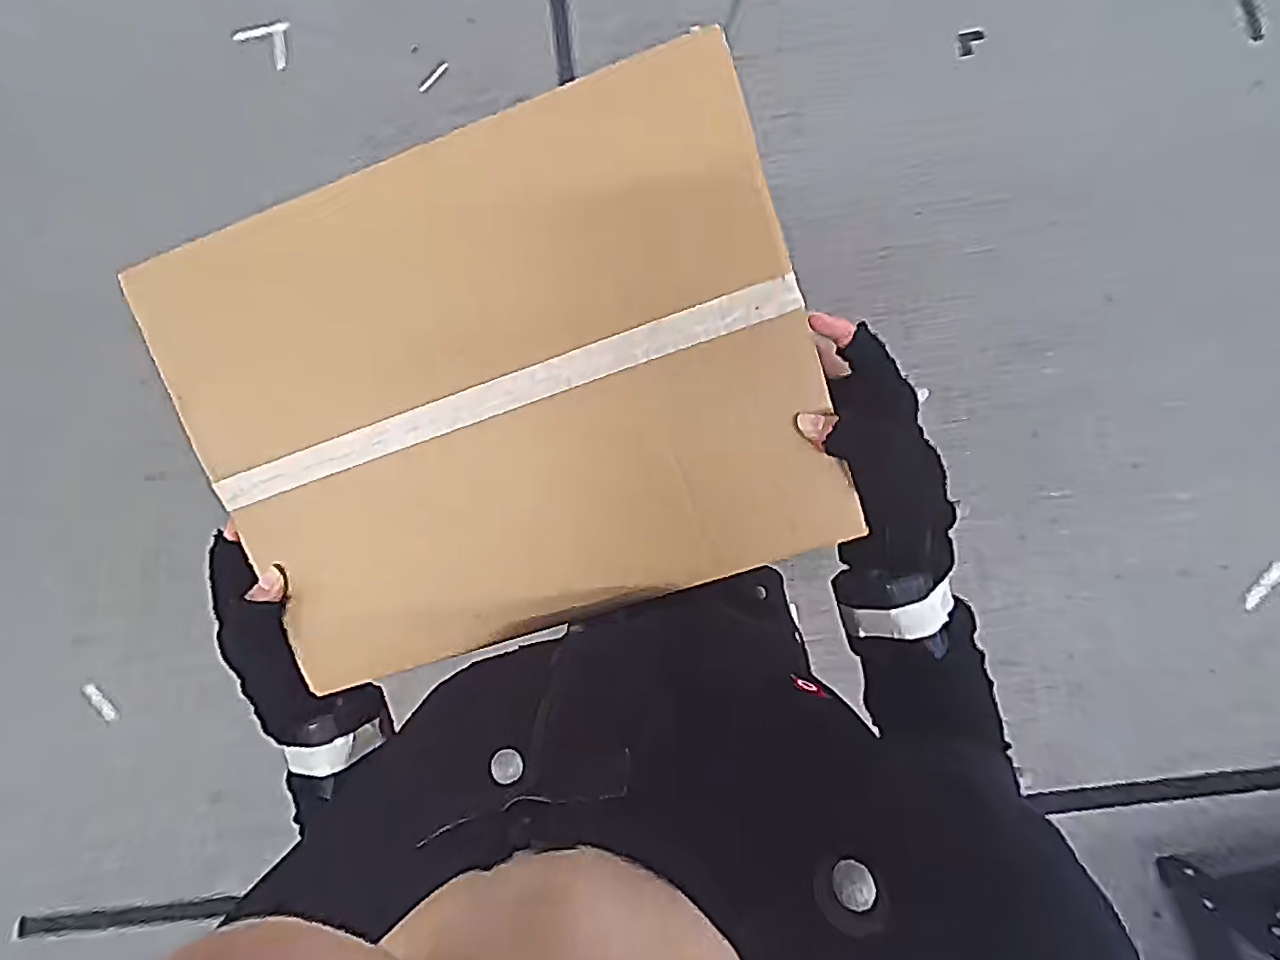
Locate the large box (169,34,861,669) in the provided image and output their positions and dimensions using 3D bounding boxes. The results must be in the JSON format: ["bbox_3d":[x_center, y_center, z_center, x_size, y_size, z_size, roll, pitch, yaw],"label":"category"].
[{"bbox_3d":[-0.077,-0.082,0.504,0.408,0.320,0.320,-17,98,7],"label":"large box"}]
